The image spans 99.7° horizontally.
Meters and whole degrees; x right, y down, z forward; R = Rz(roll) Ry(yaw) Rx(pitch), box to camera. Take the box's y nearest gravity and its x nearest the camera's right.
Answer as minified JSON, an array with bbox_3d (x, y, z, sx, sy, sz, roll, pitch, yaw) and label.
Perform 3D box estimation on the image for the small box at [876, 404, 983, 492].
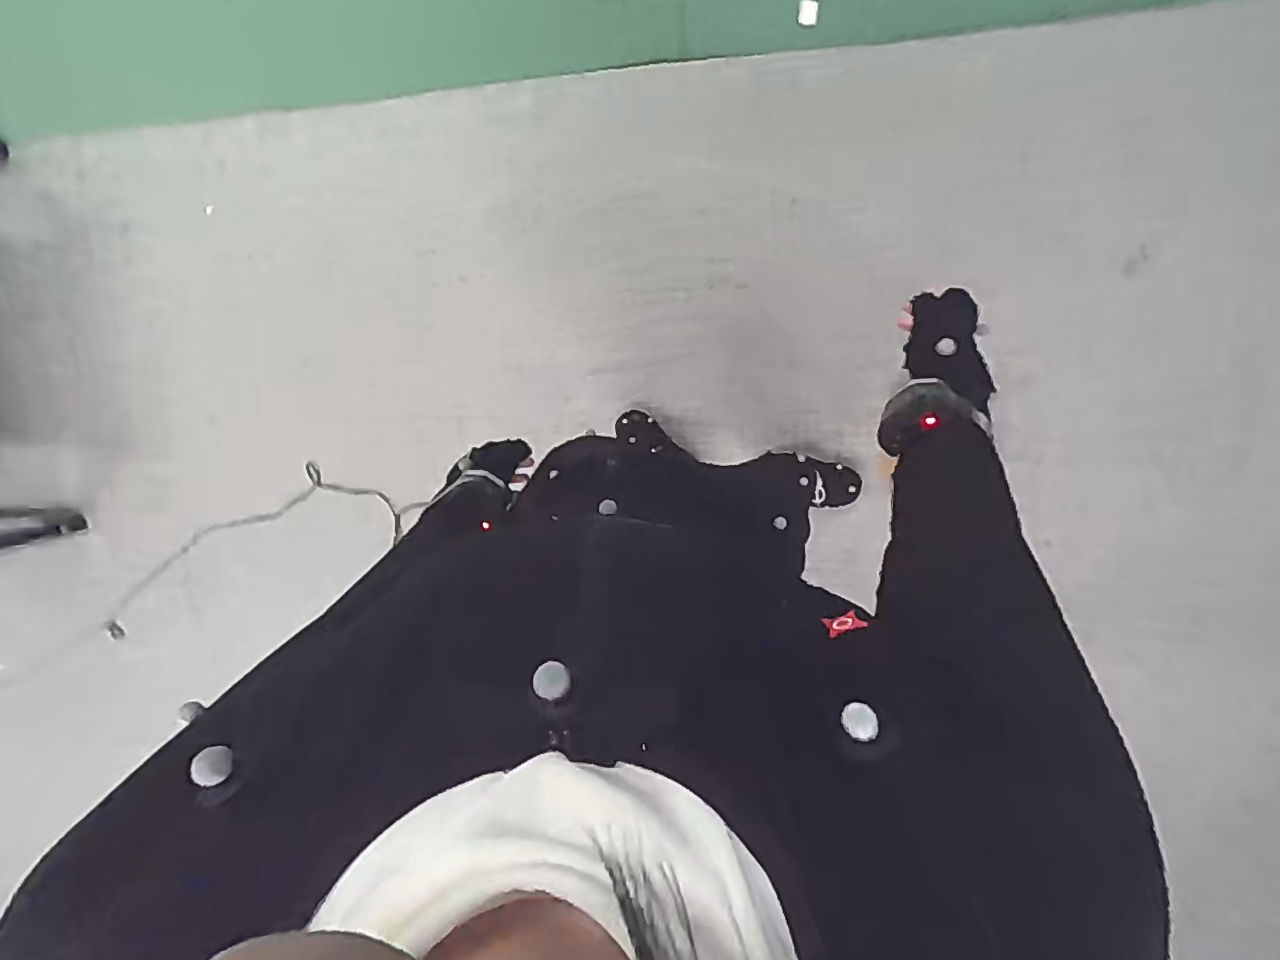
[{"bbox_3d":[0.648,-0.078,1.234,0.168,0.176,0.179,2,102,10],"label":"small box"}]
